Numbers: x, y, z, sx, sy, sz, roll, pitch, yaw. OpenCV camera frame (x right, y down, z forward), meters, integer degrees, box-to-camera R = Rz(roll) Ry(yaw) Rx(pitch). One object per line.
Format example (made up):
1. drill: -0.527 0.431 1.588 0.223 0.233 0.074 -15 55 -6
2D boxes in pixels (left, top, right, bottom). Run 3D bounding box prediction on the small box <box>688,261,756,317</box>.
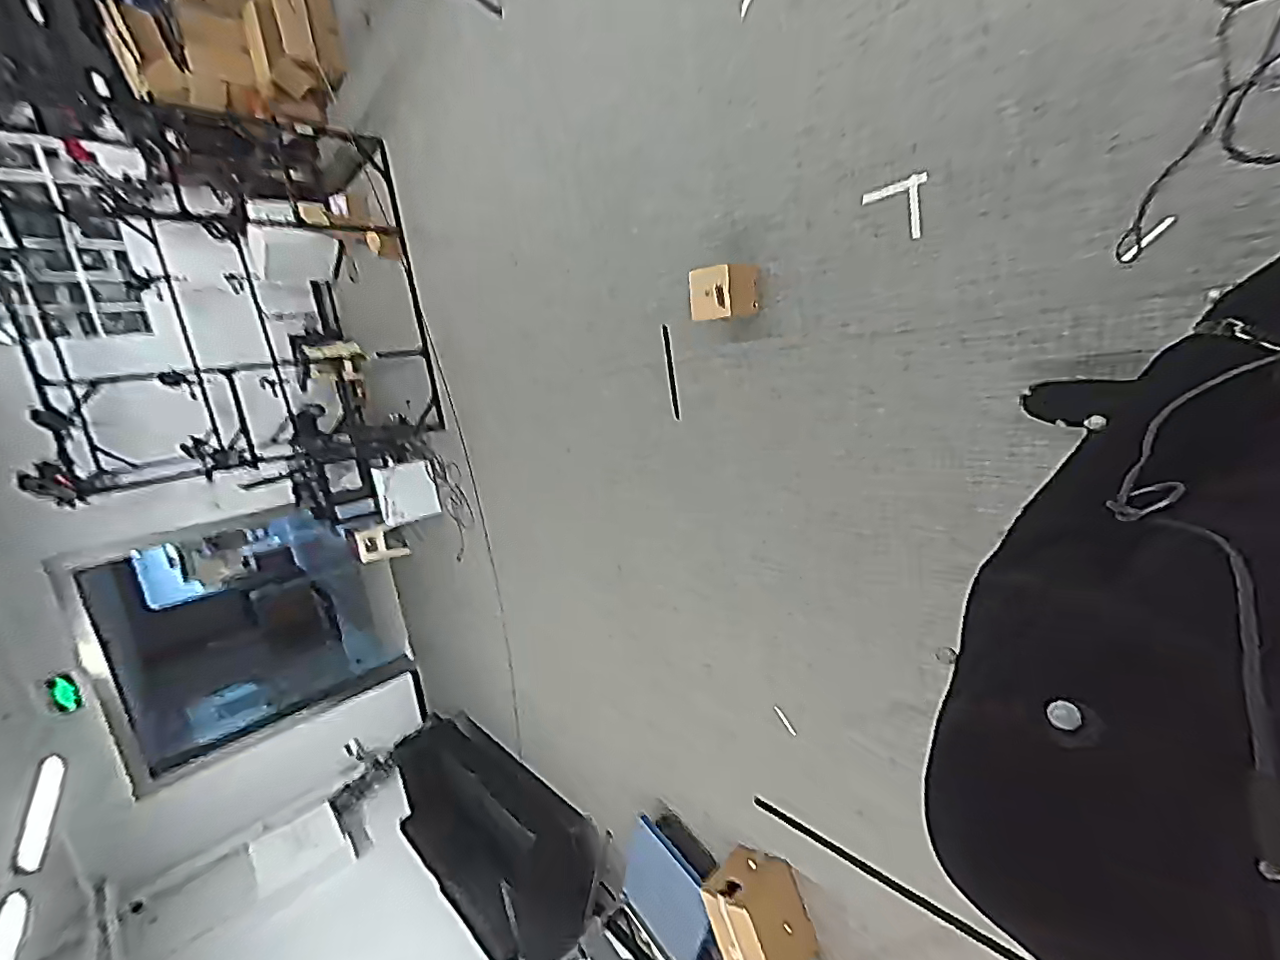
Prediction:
1. small box: 0.288 -0.659 1.865 0.179 0.176 0.168 11 112 47
